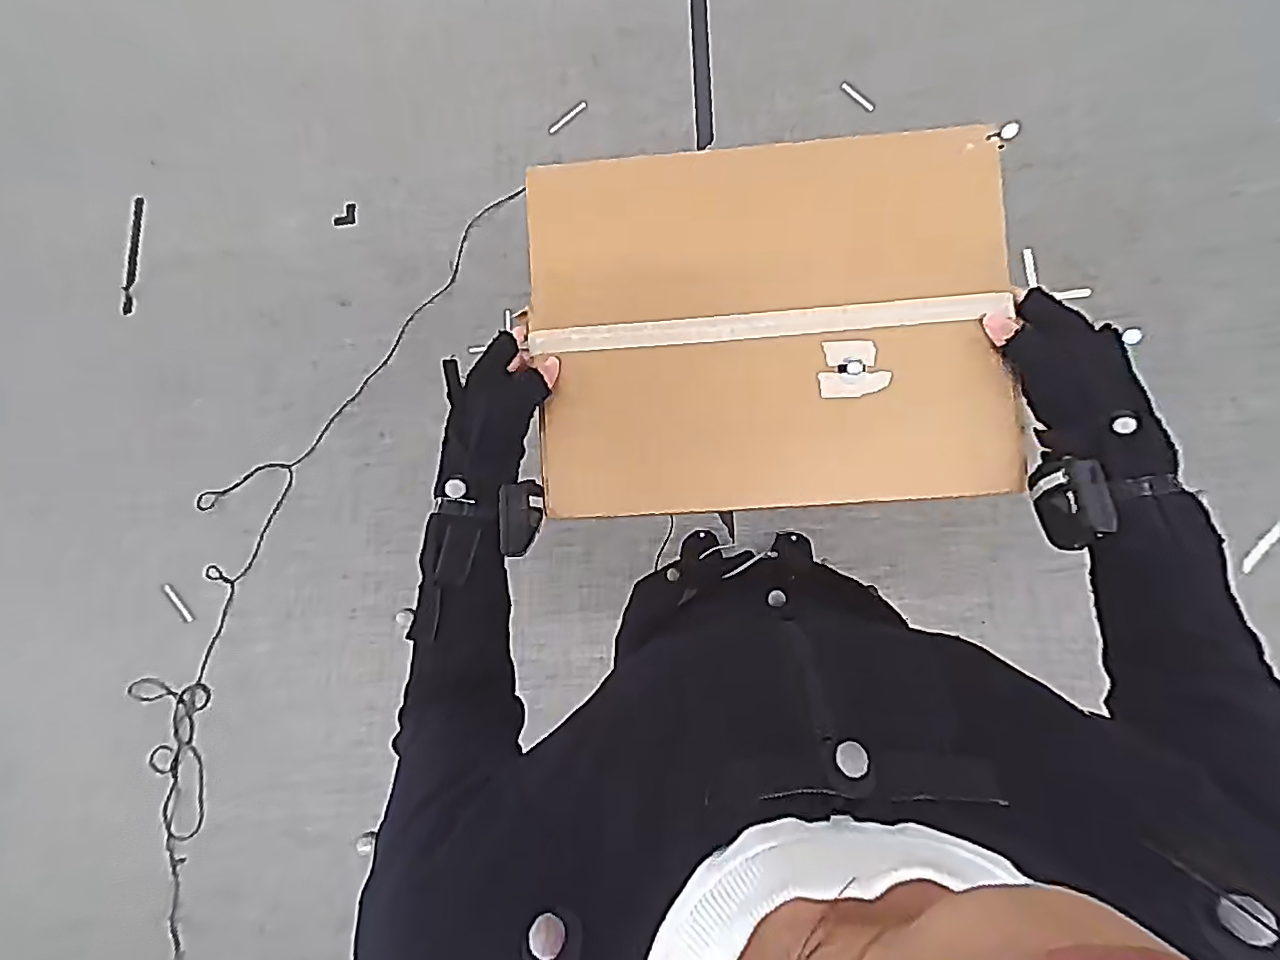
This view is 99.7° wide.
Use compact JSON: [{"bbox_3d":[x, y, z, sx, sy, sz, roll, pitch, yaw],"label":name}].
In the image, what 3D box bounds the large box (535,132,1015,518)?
[{"bbox_3d":[0.119,-0.131,0.624,0.408,0.320,0.320,-4,89,3],"label":"large box"}]
